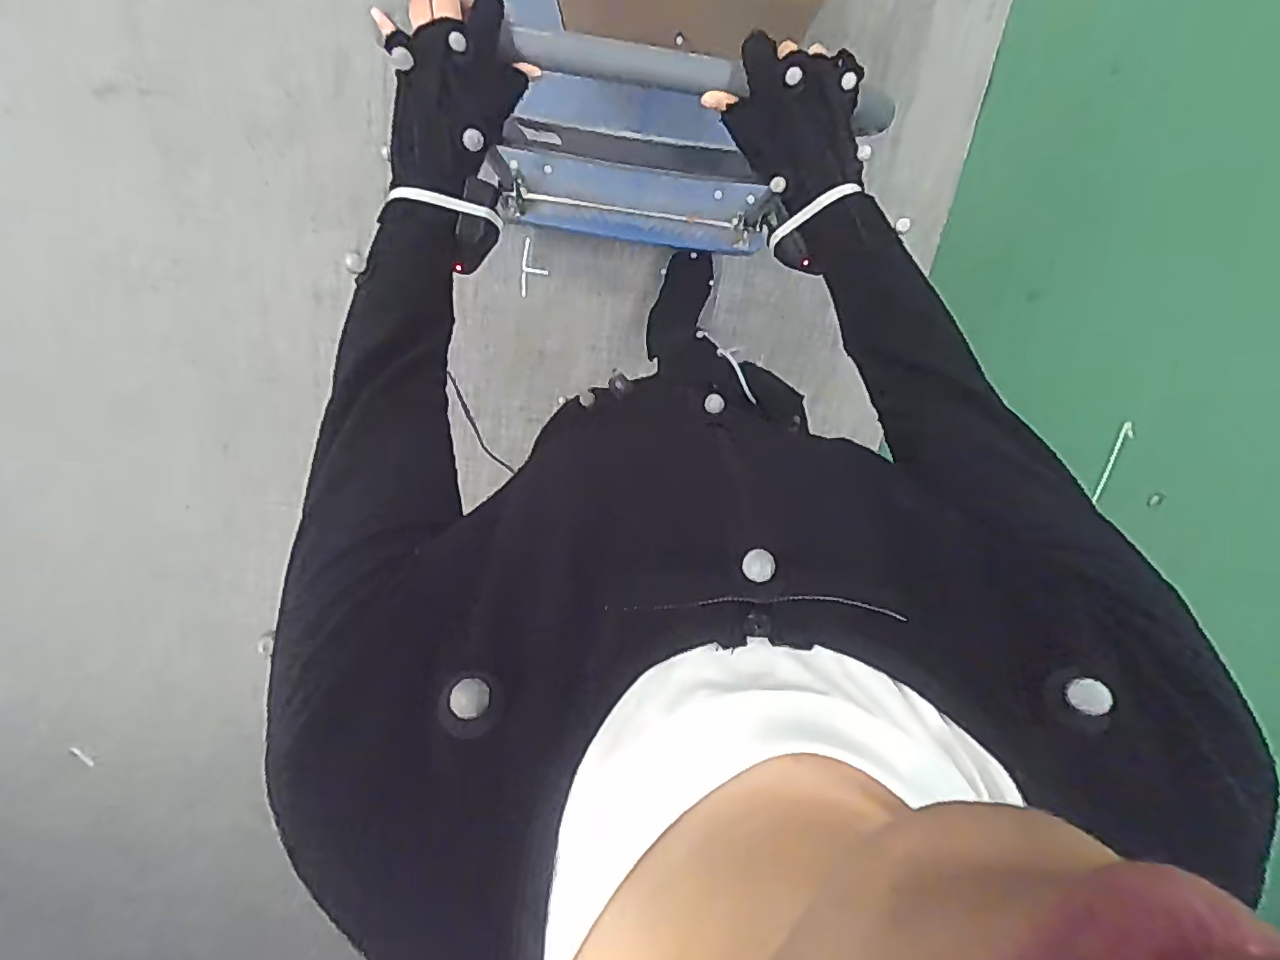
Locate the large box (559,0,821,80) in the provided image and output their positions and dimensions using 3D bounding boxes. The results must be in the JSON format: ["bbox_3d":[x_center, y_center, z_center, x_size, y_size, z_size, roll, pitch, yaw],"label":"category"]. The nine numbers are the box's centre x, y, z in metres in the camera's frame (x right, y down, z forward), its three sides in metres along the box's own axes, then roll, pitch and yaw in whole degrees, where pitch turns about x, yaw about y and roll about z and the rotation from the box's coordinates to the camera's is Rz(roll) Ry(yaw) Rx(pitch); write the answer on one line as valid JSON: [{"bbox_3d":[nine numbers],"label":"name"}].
[{"bbox_3d":[0.086,-0.901,0.876,0.408,0.320,0.320,6,107,-1],"label":"large box"}]
